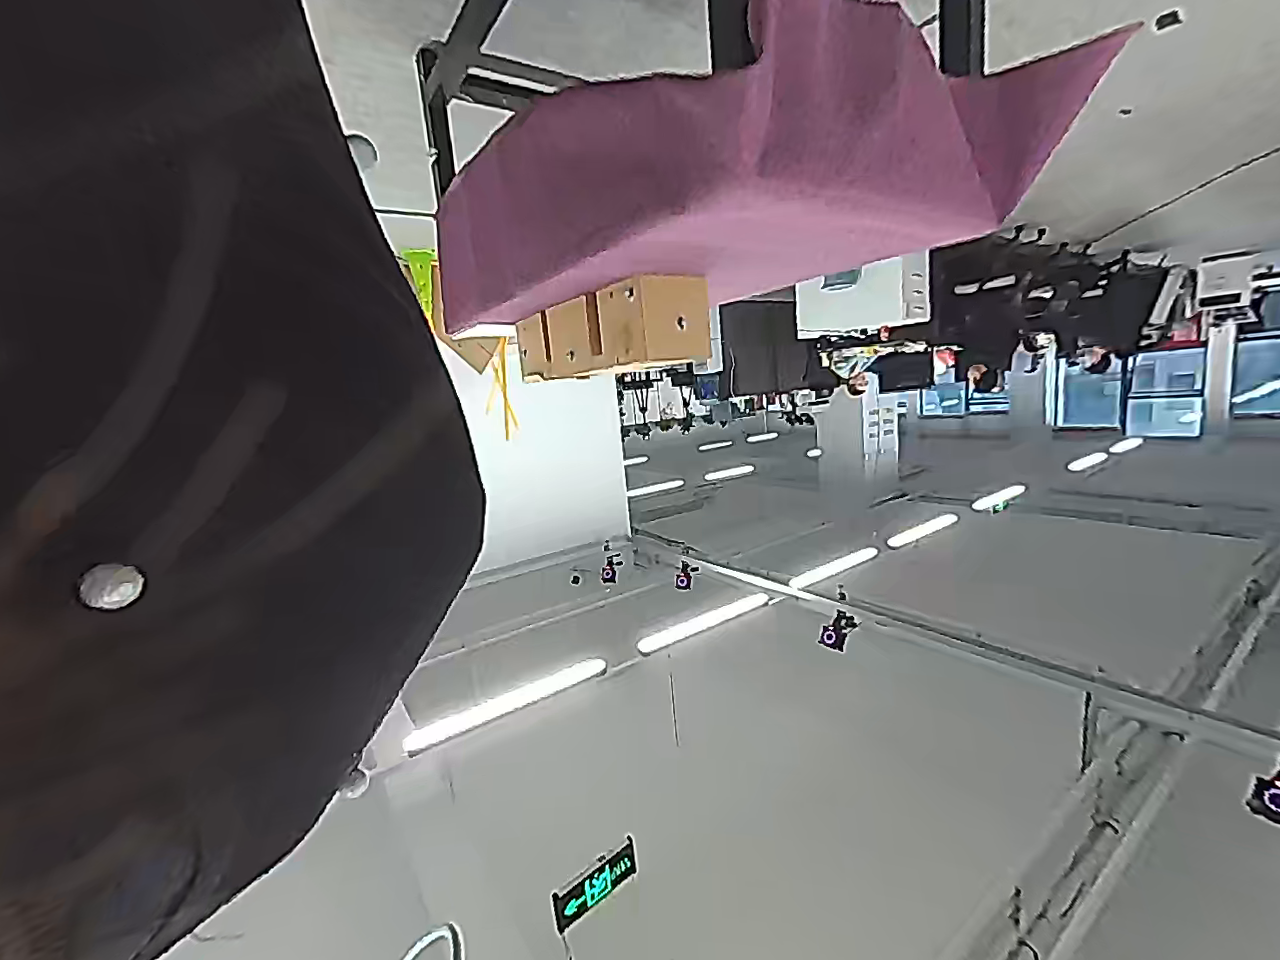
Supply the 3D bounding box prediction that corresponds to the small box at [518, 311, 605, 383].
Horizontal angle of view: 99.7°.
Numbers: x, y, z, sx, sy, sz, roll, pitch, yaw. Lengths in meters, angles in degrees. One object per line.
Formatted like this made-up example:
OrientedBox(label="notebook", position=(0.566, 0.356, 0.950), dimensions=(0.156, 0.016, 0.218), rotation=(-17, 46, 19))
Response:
OrientedBox(label="small box", position=(-0.219, -0.361, 1.477), dimensions=(0.179, 0.176, 0.168), rotation=(-13, -167, -35))
